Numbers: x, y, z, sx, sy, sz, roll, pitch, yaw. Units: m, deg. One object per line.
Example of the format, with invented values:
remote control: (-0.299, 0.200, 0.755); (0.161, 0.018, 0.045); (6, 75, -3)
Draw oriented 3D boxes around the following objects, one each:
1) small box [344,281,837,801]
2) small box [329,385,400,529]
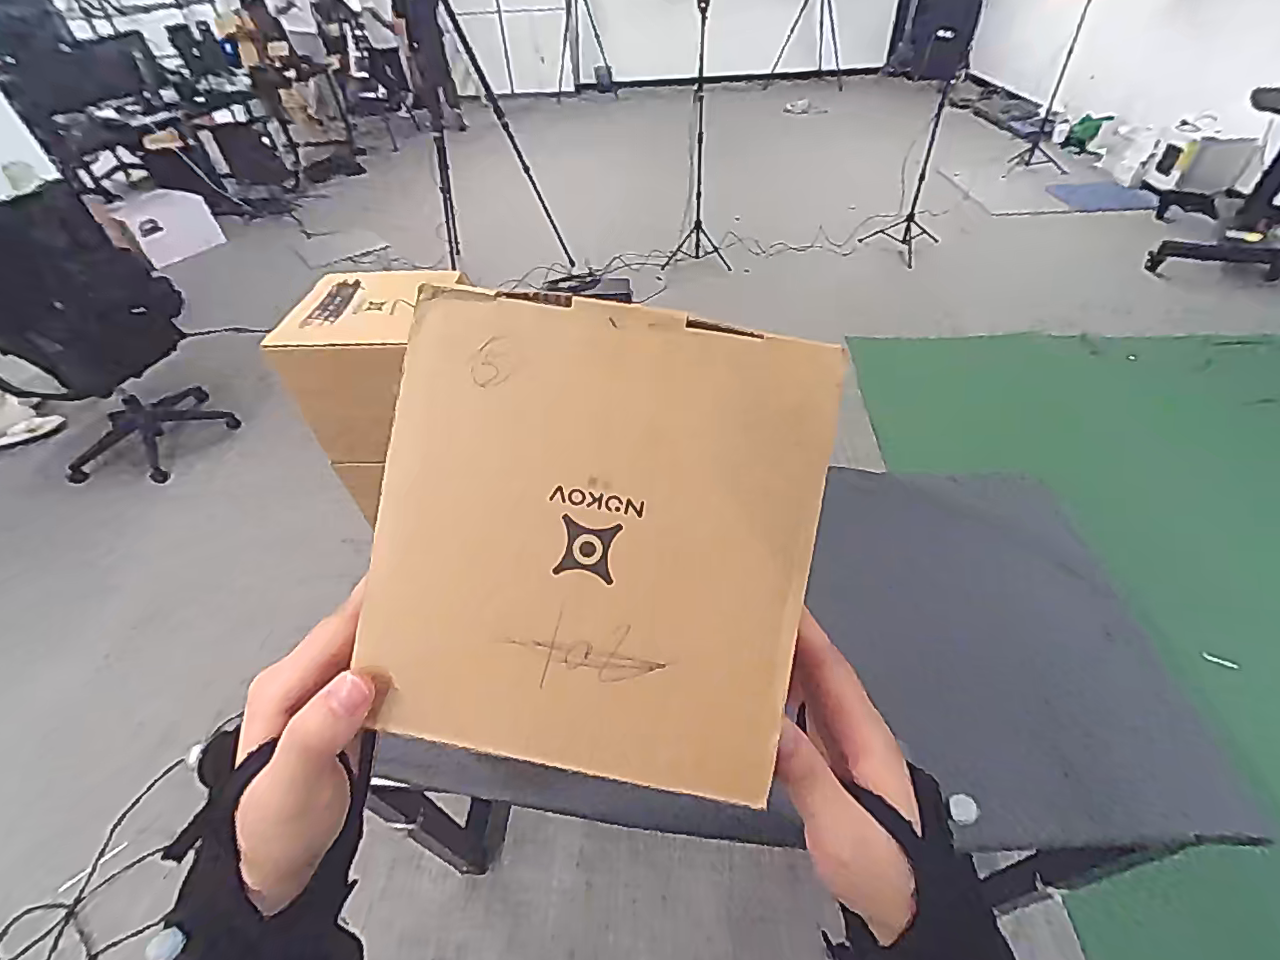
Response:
small box: (-0.016, 0.022, 0.285); (0.168, 0.176, 0.179); (10, 91, 4)
small box: (-0.301, -0.023, 0.789); (0.179, 0.176, 0.168); (-2, 46, 3)
